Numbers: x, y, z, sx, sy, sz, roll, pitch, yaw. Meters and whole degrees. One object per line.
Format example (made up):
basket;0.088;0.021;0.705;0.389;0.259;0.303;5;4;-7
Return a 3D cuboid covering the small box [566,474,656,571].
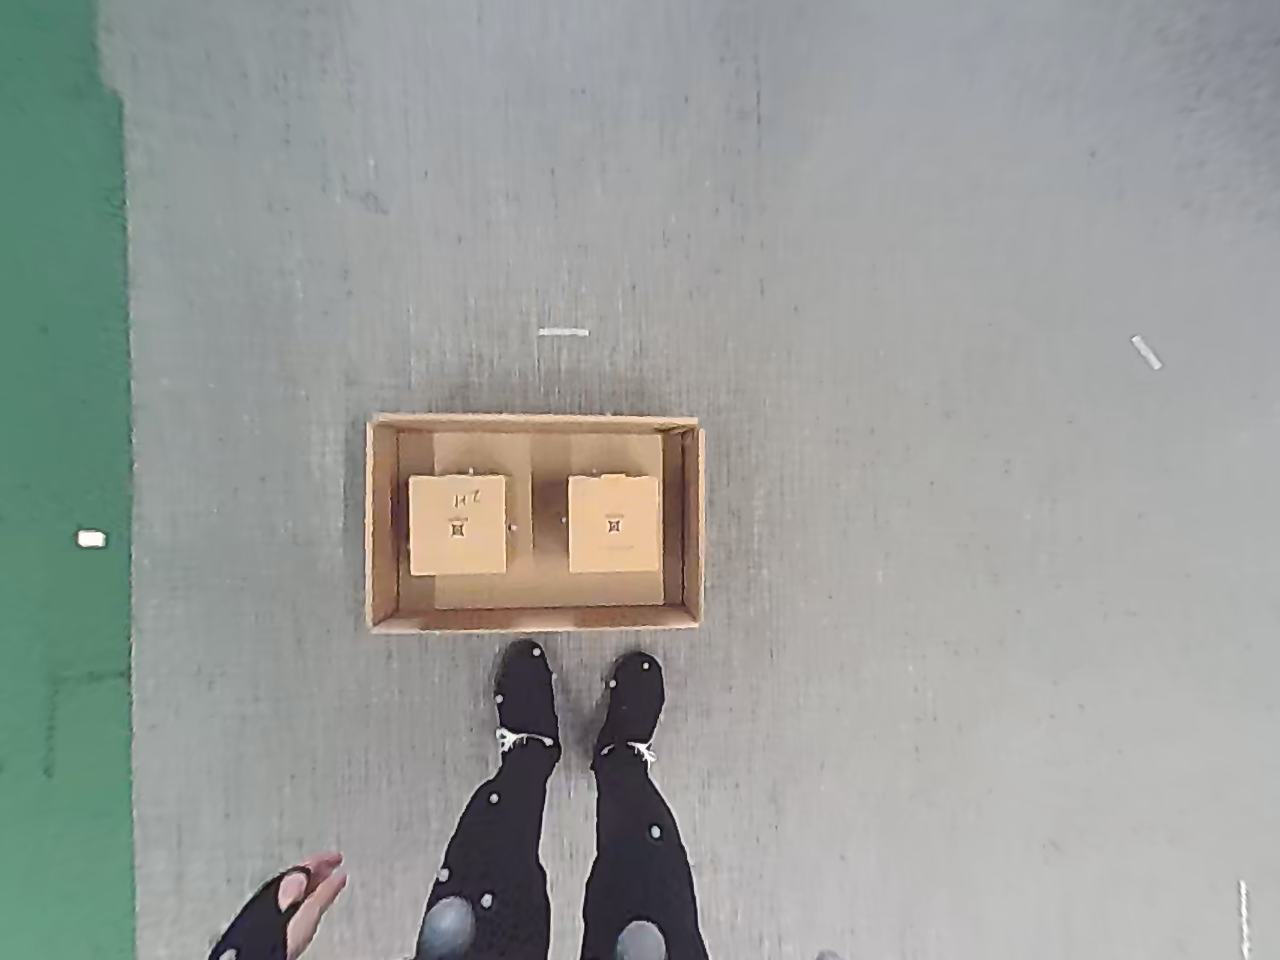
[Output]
small box;-0.060;0.079;1.061;0.168;0.176;0.179;0;90;-5

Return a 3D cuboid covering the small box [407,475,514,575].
small box;-0.333;0.080;1.031;0.168;0.176;0.179;0;89;-7
